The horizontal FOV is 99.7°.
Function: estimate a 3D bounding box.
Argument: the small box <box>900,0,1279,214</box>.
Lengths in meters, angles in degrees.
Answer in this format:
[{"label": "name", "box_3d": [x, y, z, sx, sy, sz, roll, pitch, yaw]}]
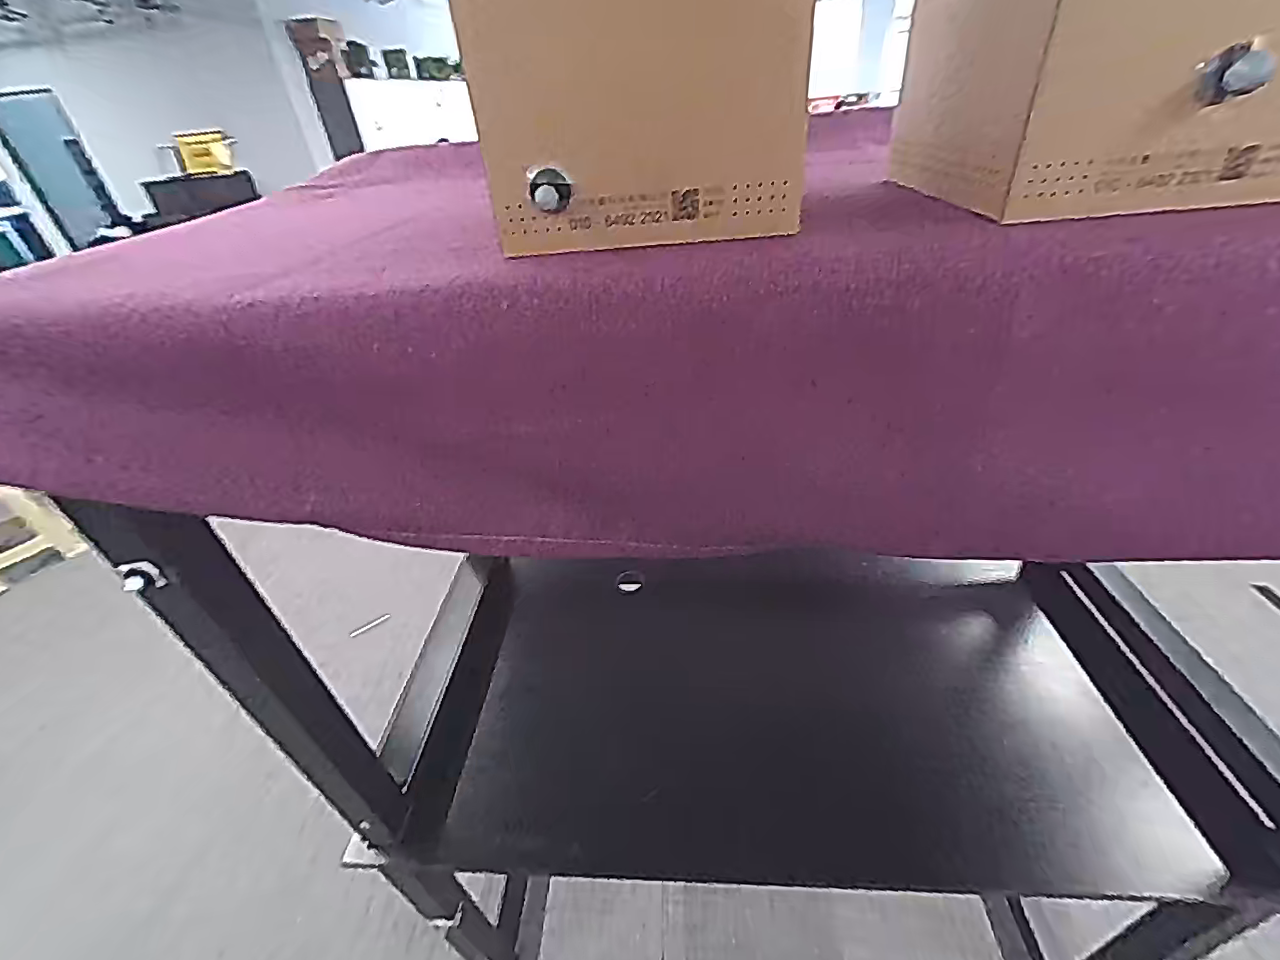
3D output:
[{"label": "small box", "box_3d": [0.262, -0.248, 0.289, 0.168, 0.176, 0.179, -3, 35, 4]}]

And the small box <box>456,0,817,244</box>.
[{"label": "small box", "box_3d": [0.003, -0.242, 0.316, 0.168, 0.176, 0.179, -3, 35, 3]}]
